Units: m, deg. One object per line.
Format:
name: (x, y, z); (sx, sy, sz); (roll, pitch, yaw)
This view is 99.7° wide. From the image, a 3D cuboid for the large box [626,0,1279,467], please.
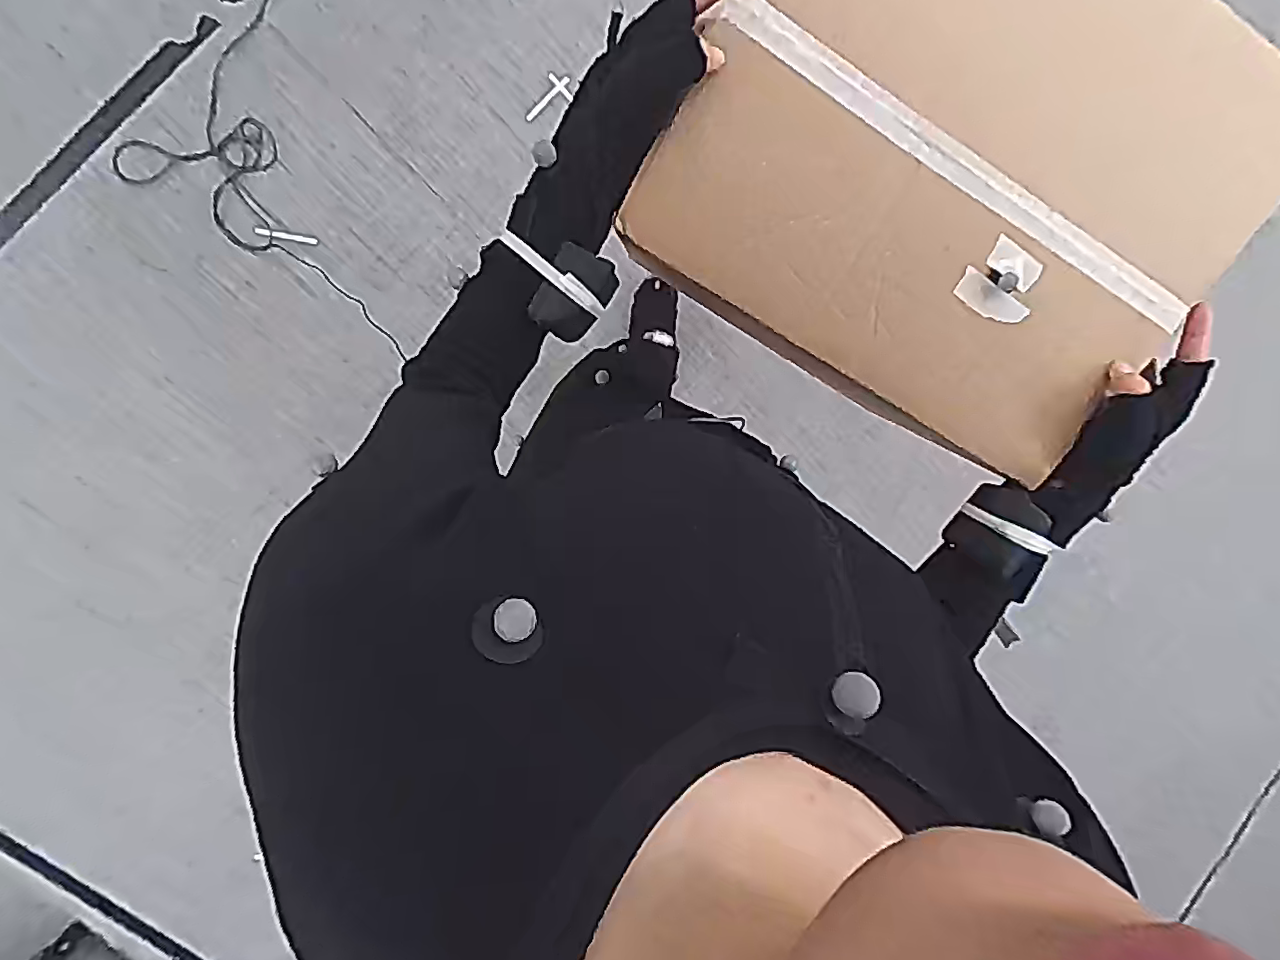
large box: (0.231, -0.273, 0.536); (0.408, 0.320, 0.320); (29, 107, -9)
